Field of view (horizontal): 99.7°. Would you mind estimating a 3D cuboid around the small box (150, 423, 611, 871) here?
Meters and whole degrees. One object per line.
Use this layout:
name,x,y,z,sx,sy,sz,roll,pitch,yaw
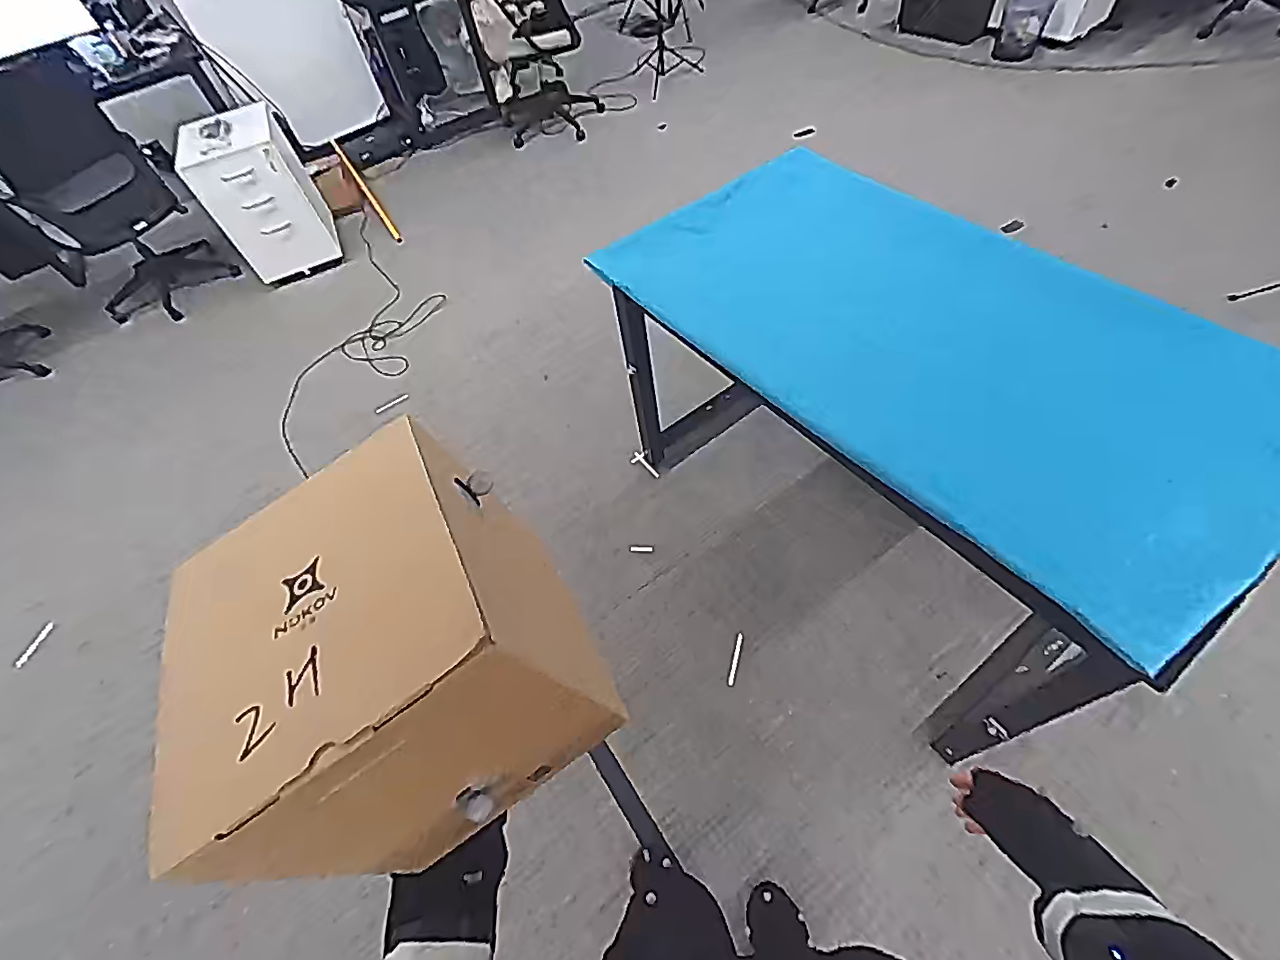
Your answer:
small box,-0.144,0.105,0.339,0.168,0.176,0.179,-33,54,1
